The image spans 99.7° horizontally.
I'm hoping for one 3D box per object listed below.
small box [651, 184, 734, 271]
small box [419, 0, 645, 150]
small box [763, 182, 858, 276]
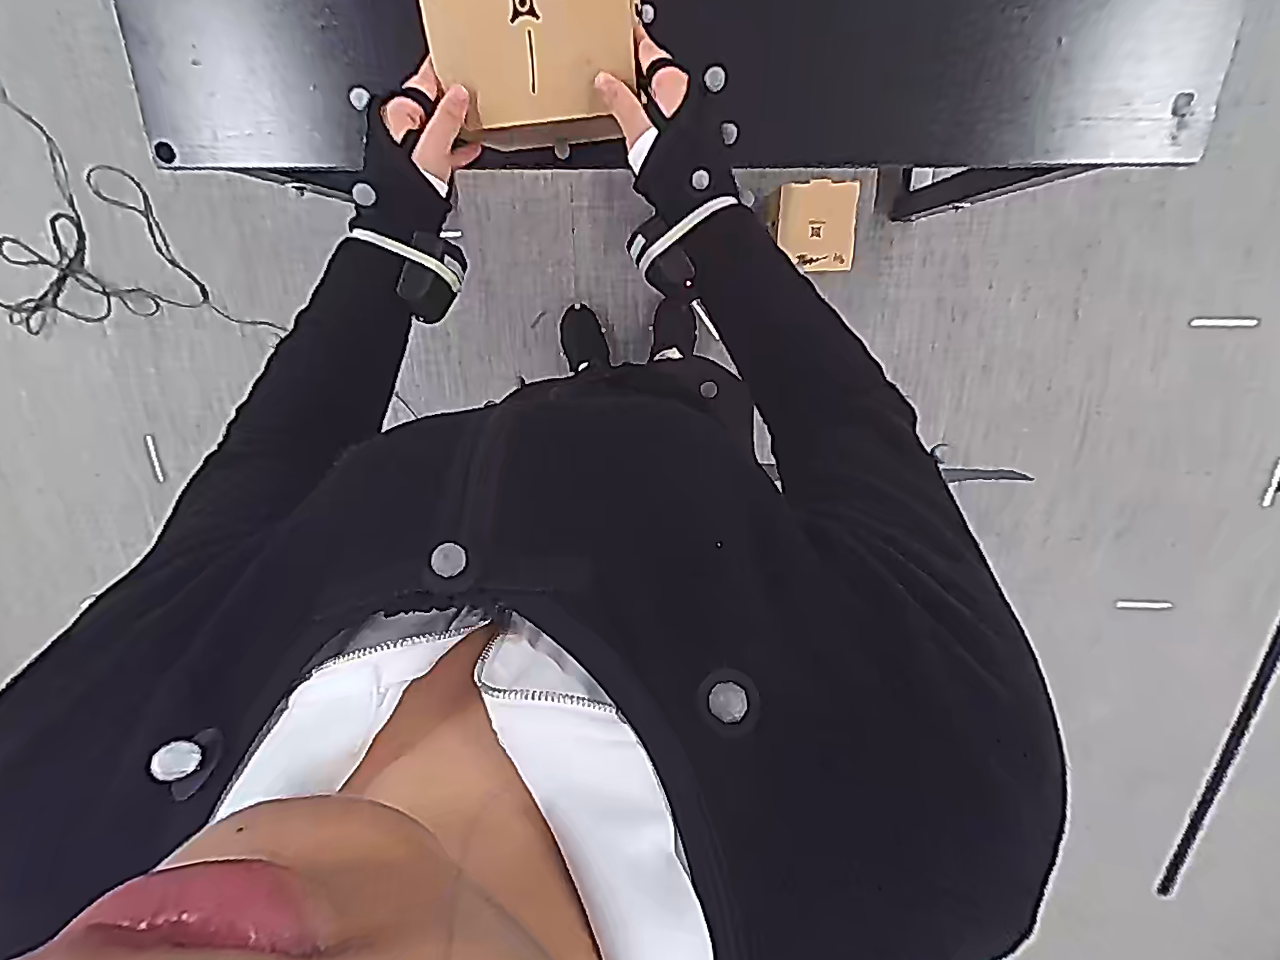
[{"bbox_3d":[0.115,-0.573,1.241,0.179,0.176,0.168,1,108,3],"label":"small box"},{"bbox_3d":[-0.086,-0.411,0.481,0.168,0.176,0.179,-3,117,5],"label":"small box"},{"bbox_3d":[0.377,-0.563,1.228,0.168,0.176,0.179,0,109,3],"label":"small box"}]
